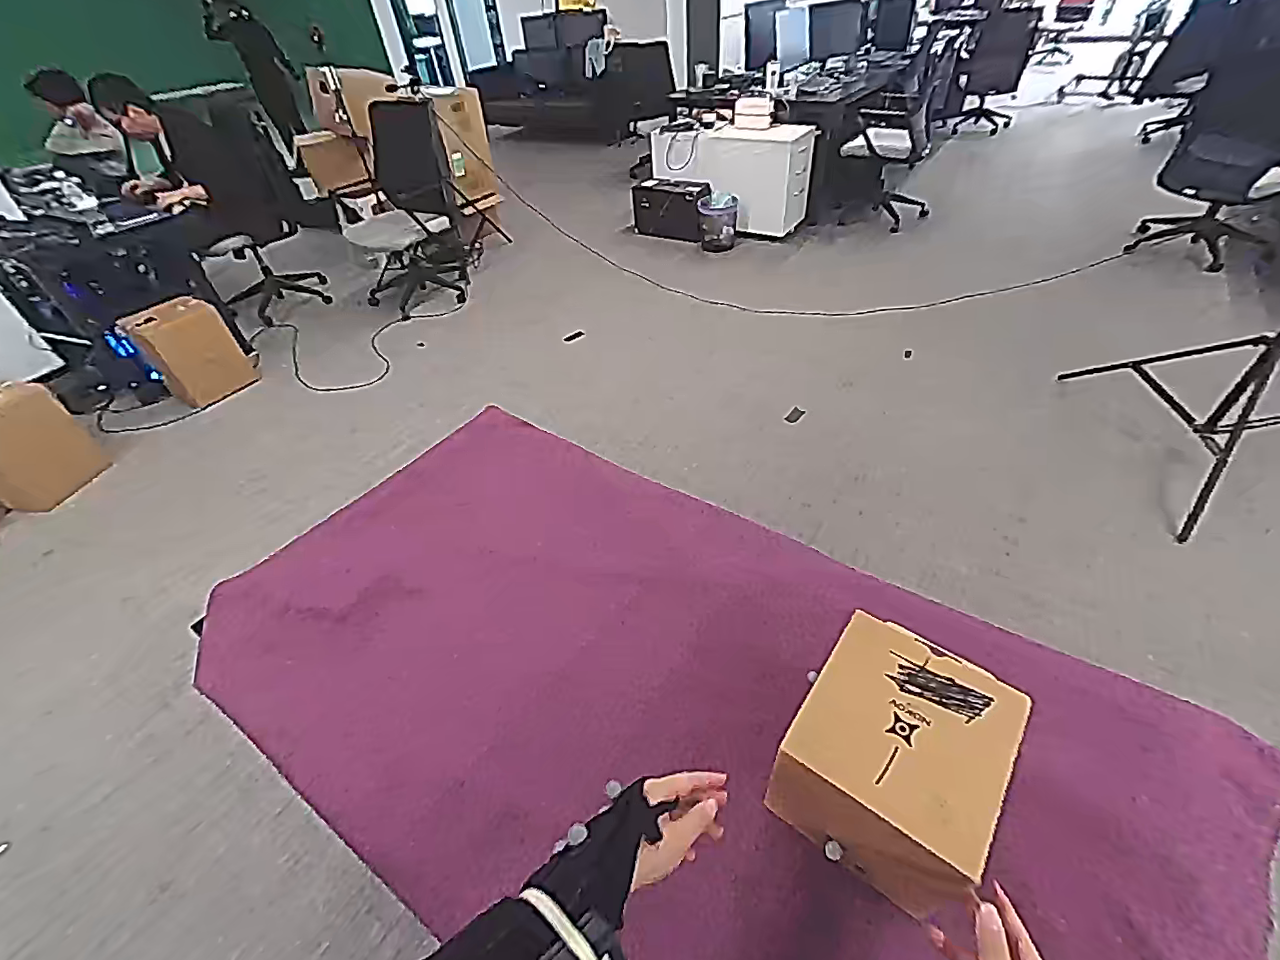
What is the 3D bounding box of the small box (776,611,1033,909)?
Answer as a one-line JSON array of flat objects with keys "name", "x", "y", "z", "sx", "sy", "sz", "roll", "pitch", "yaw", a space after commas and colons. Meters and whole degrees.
[{"name": "small box", "x": 0.249, "y": 0.274, "z": 0.540, "sx": 0.168, "sy": 0.176, "sz": 0.179, "roll": 26, "pitch": 52, "yaw": 30}]
